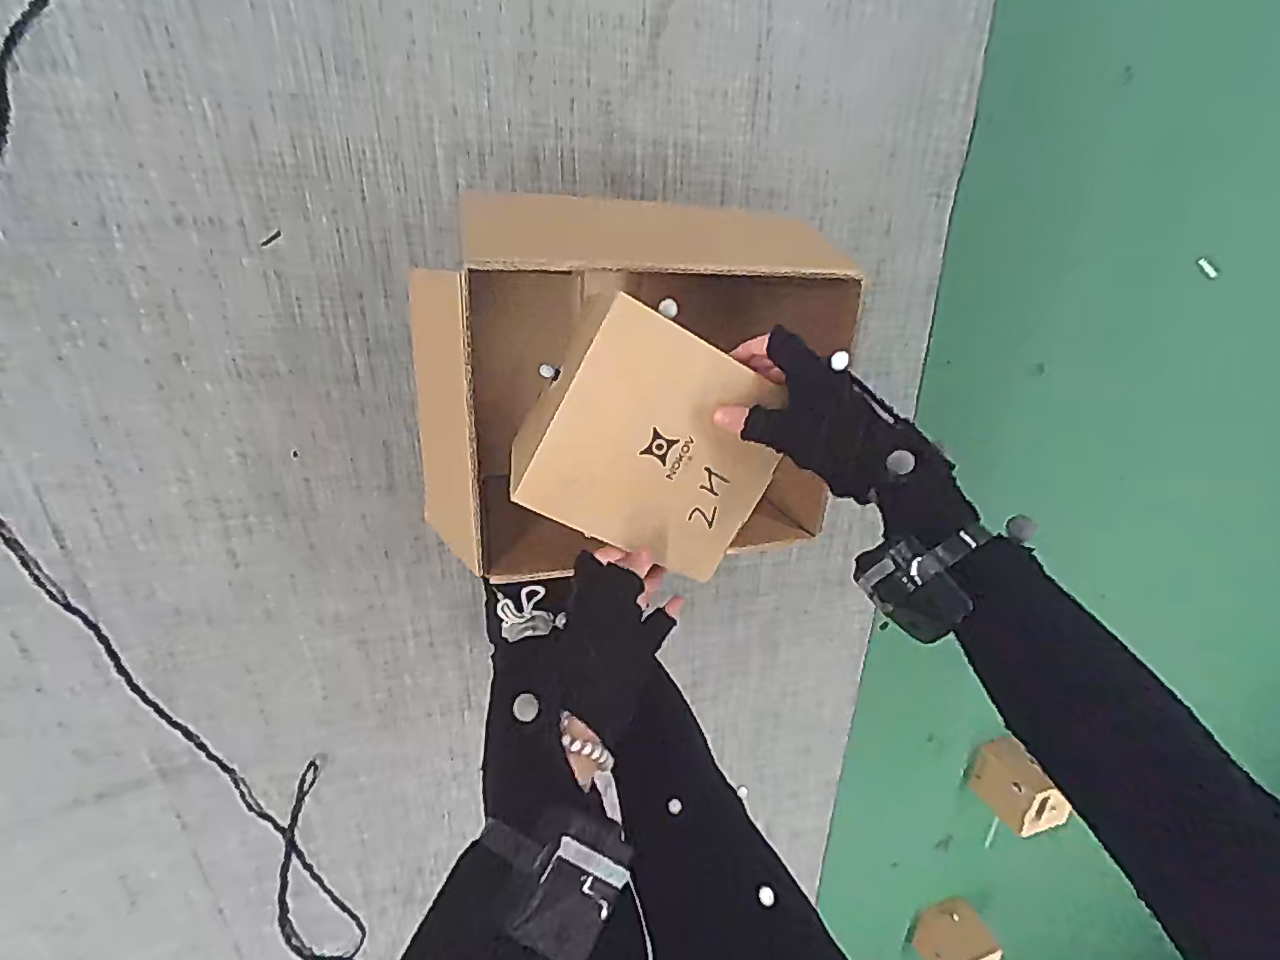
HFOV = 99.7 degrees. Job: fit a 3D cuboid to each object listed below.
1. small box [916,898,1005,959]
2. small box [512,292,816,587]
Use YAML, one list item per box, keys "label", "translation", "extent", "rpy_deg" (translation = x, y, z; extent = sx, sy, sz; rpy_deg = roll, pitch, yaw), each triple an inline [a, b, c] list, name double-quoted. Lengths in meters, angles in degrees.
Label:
- label: "small box"
  translation: [1.037, 1.523, 1.767]
  extent: [0.168, 0.176, 0.179]
  rpy_deg: [-5, 112, -17]
- label: "small box"
  translation: [0.005, -0.041, 0.464]
  extent: [0.179, 0.176, 0.168]
  rpy_deg: [24, 101, -18]
